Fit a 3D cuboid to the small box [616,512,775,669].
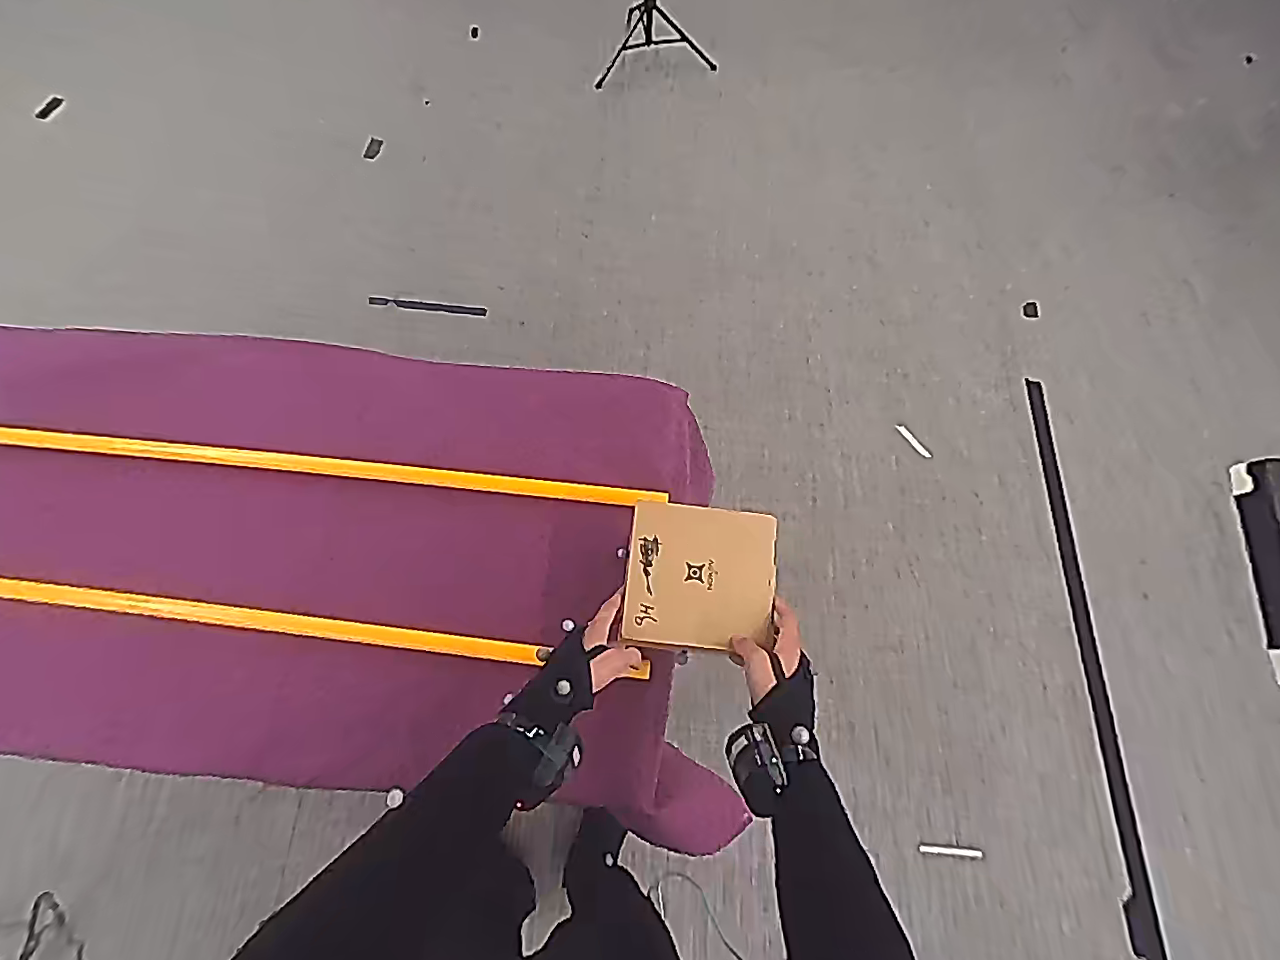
[{"bbox_3d":[0.066,0.152,0.716,0.179,0.176,0.168,8,71,-1],"label":"small box"}]
